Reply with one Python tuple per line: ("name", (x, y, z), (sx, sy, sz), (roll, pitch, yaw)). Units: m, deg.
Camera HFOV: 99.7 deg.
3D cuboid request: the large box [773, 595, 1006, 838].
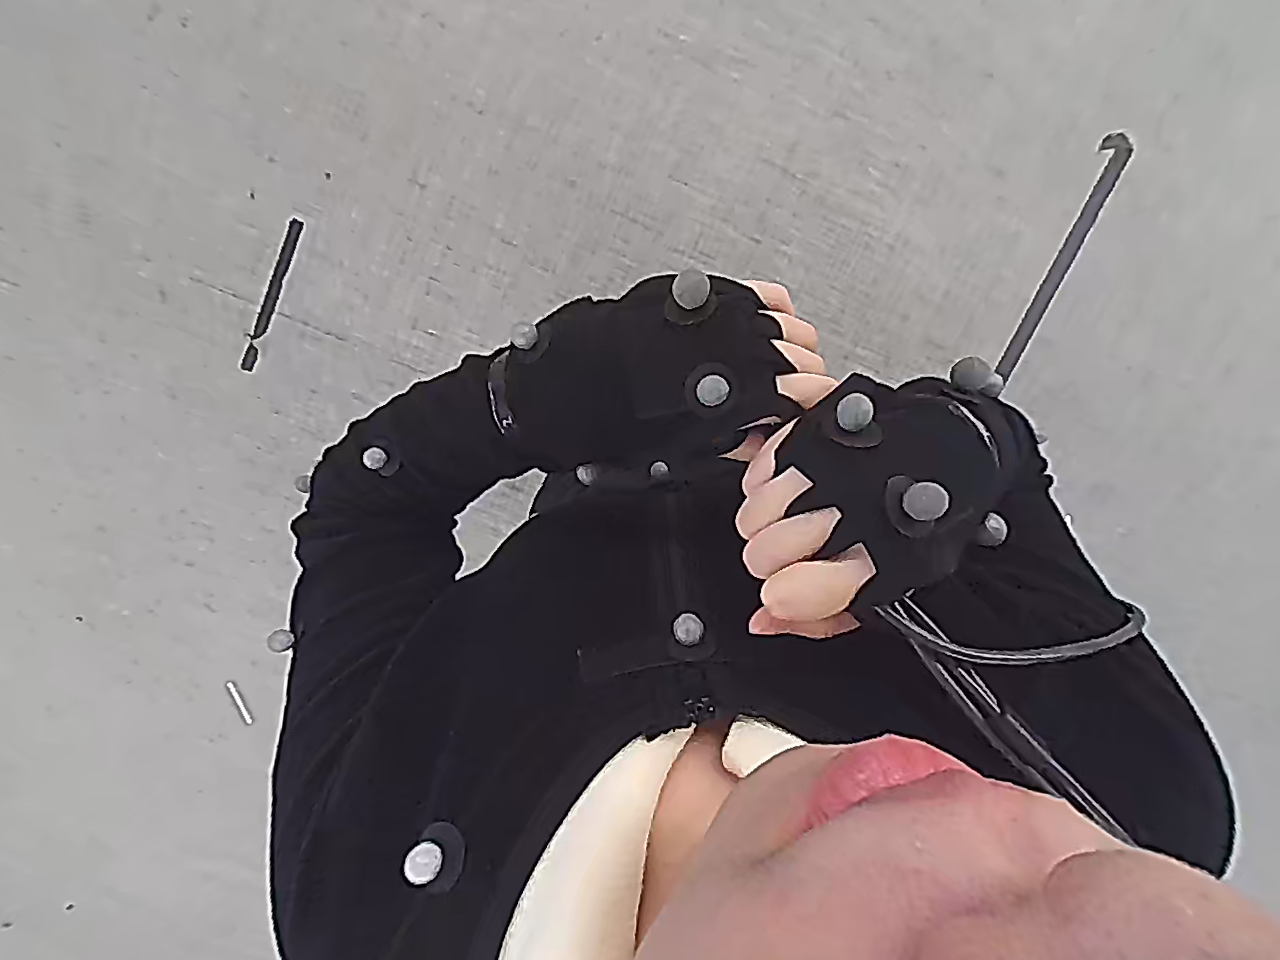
("large box", (0.571, 0.549, 1.310), (0.320, 0.320, 0.408), (18, 100, -6))
